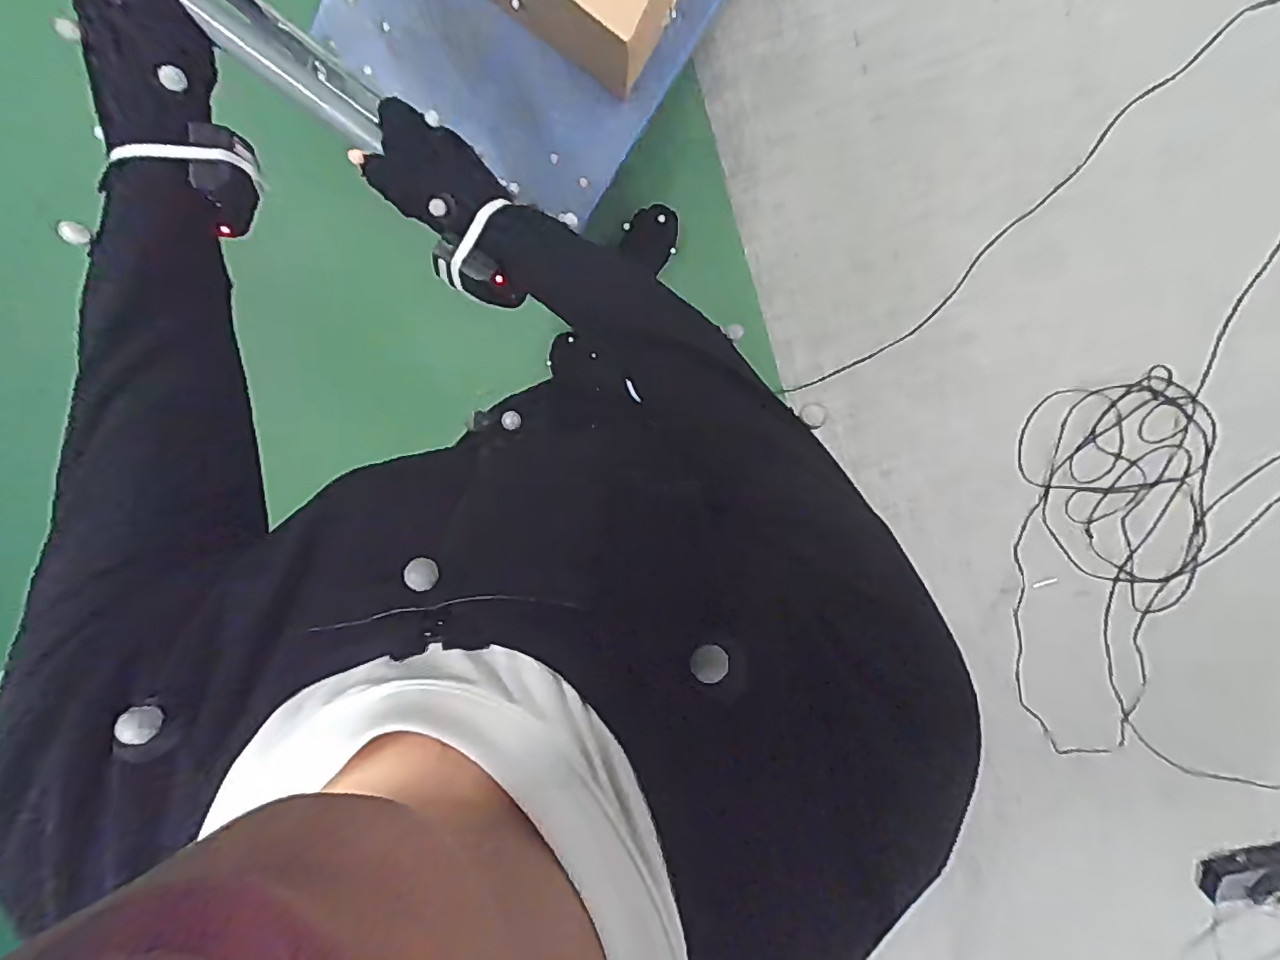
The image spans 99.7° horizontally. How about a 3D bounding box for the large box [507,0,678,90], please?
[{"bbox_3d":[-0.102,-0.894,0.808,0.408,0.320,0.320,30,108,-14],"label":"large box"}]
